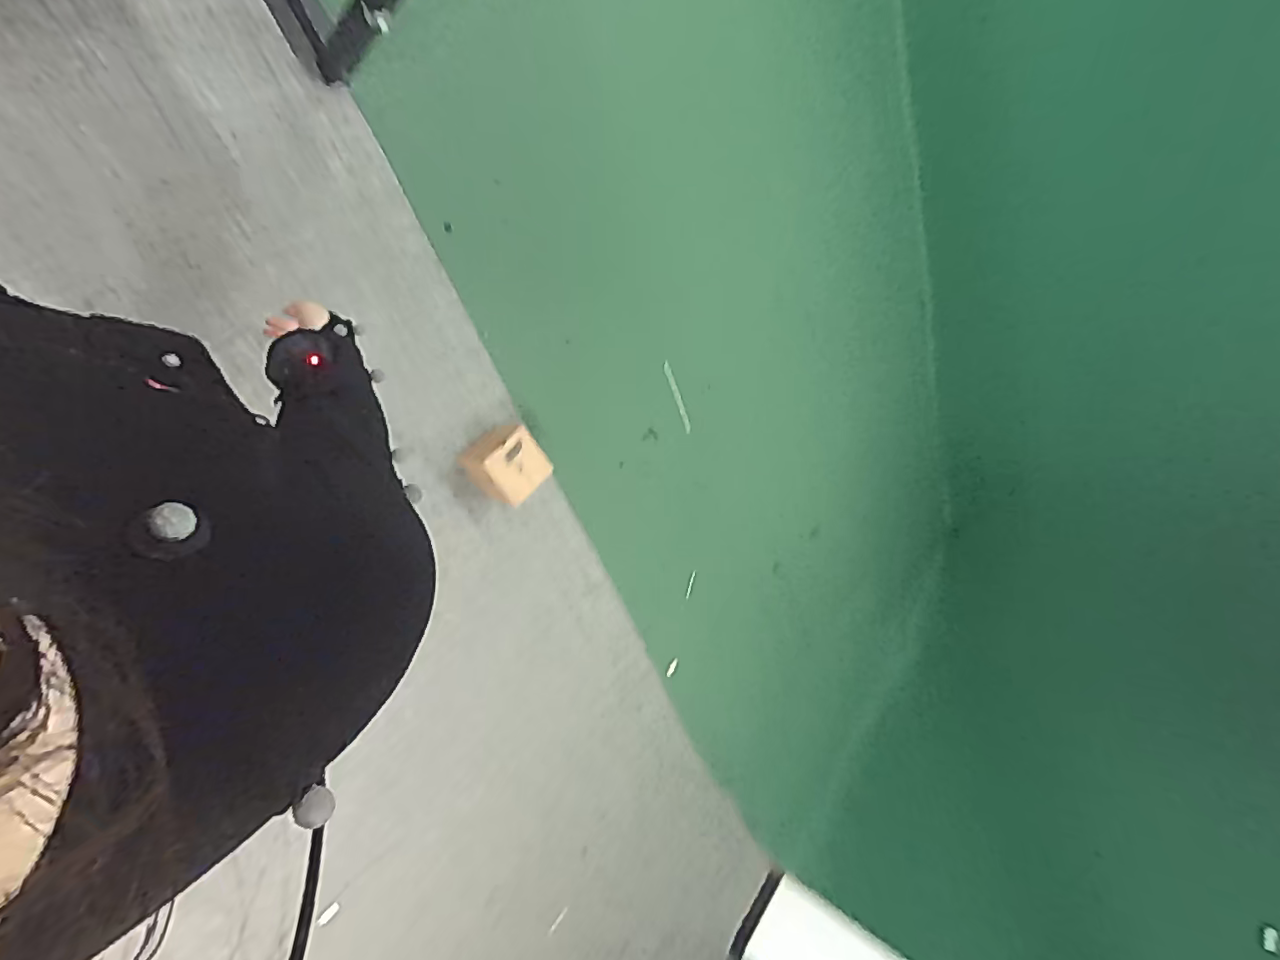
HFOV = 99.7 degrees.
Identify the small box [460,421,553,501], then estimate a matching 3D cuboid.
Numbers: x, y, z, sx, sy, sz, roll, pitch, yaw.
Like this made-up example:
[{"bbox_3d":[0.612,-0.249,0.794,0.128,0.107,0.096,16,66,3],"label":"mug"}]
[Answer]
[{"bbox_3d":[-0.399,-0.061,1.606,0.168,0.176,0.179,-48,127,-25],"label":"small box"}]
